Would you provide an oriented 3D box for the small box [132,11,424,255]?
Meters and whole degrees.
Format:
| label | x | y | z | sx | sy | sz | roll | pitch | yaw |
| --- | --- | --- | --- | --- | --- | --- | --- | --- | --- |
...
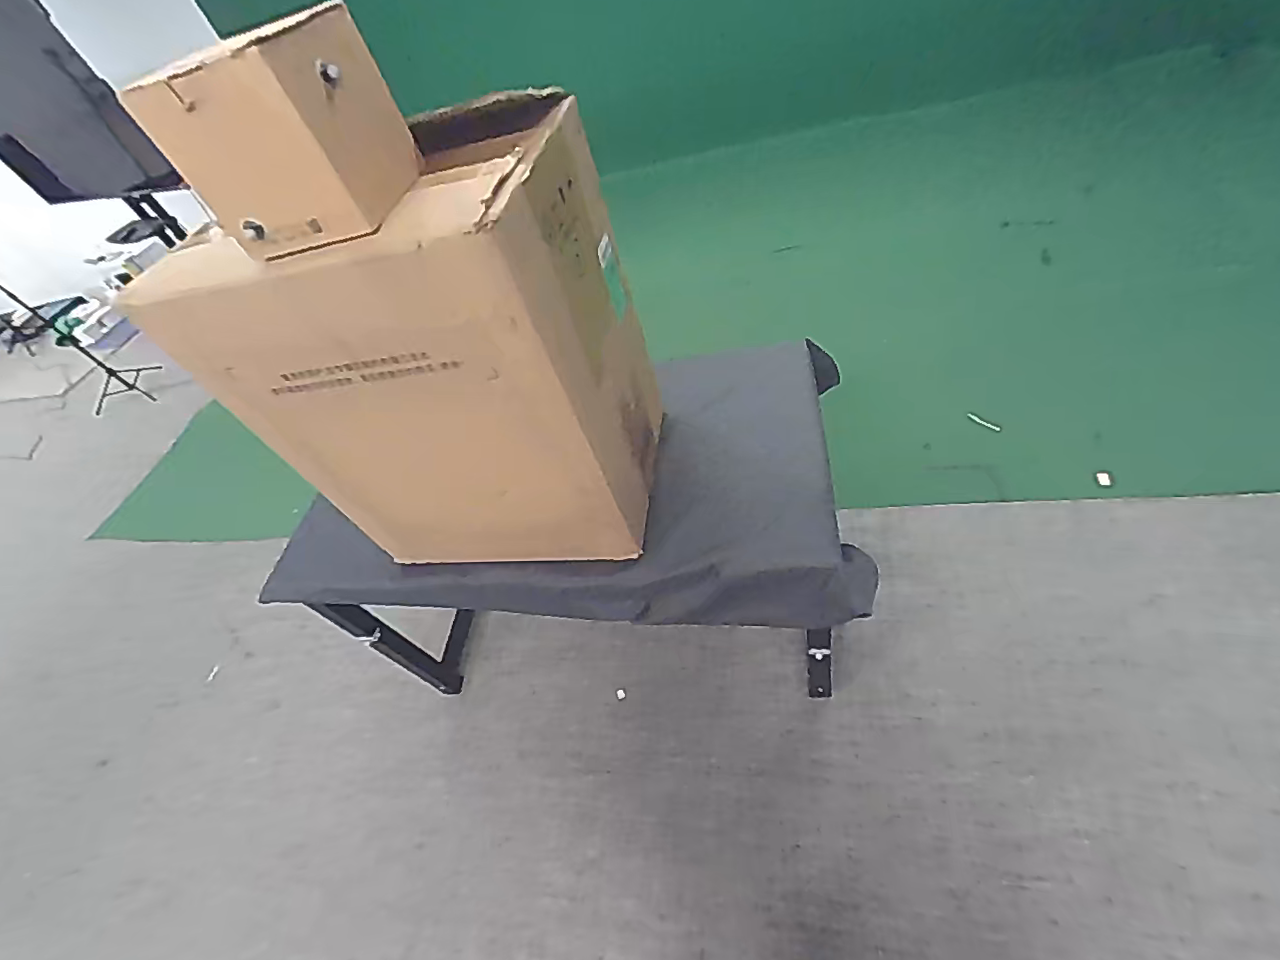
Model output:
| label | x | y | z | sx | sy | sz | roll | pitch | yaw |
| --- | --- | --- | --- | --- | --- | --- | --- | --- | --- |
| small box | -0.370 | -0.367 | 0.595 | 0.168 | 0.176 | 0.179 | -5 | 49 | 14 |
